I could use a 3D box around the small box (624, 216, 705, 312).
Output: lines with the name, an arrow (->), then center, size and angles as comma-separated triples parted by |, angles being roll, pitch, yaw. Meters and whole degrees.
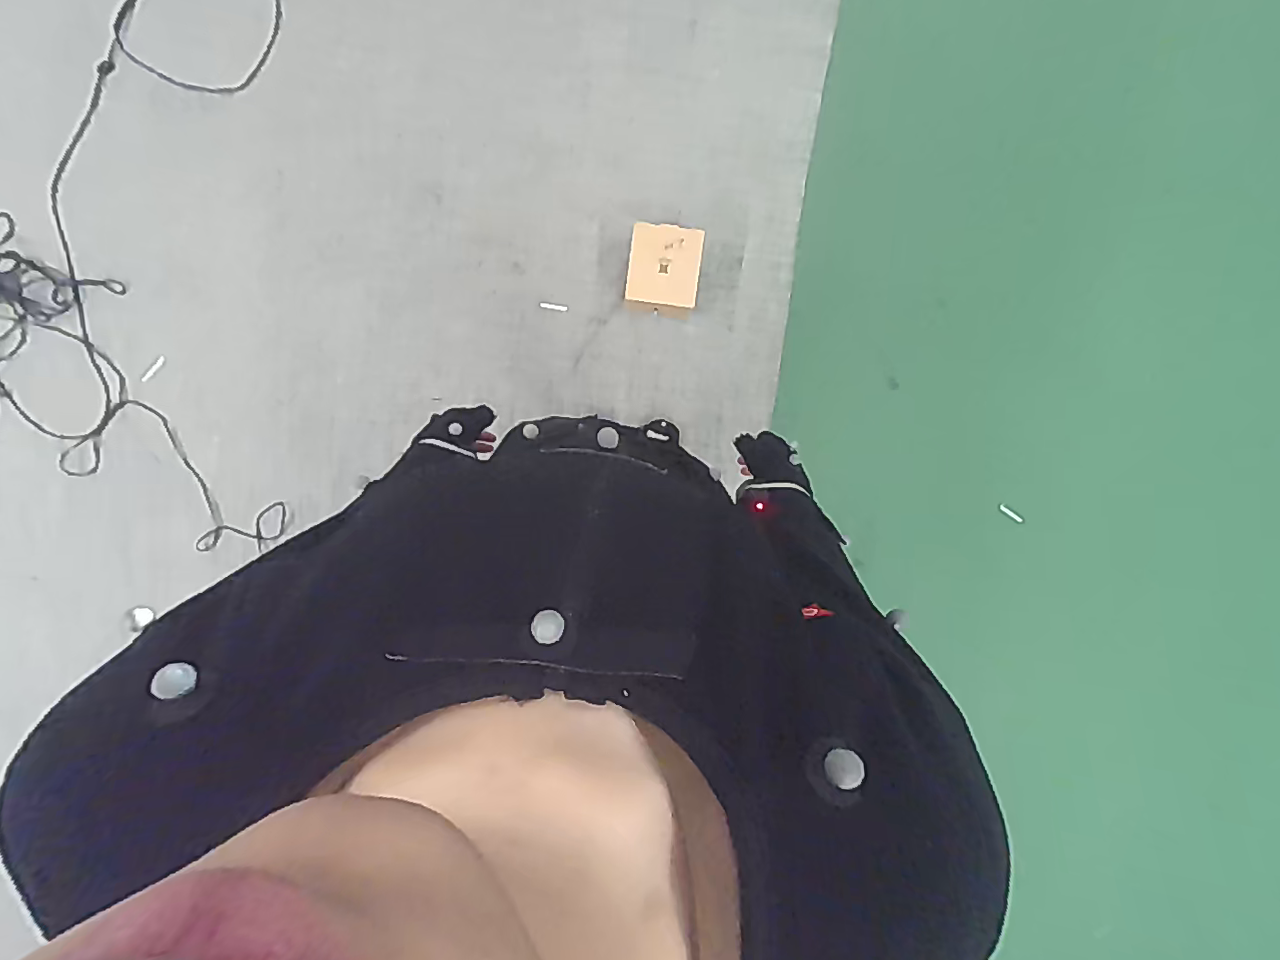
small box -> 0.056, -0.513, 1.310 | 0.168, 0.176, 0.179 | 8, 99, -1
